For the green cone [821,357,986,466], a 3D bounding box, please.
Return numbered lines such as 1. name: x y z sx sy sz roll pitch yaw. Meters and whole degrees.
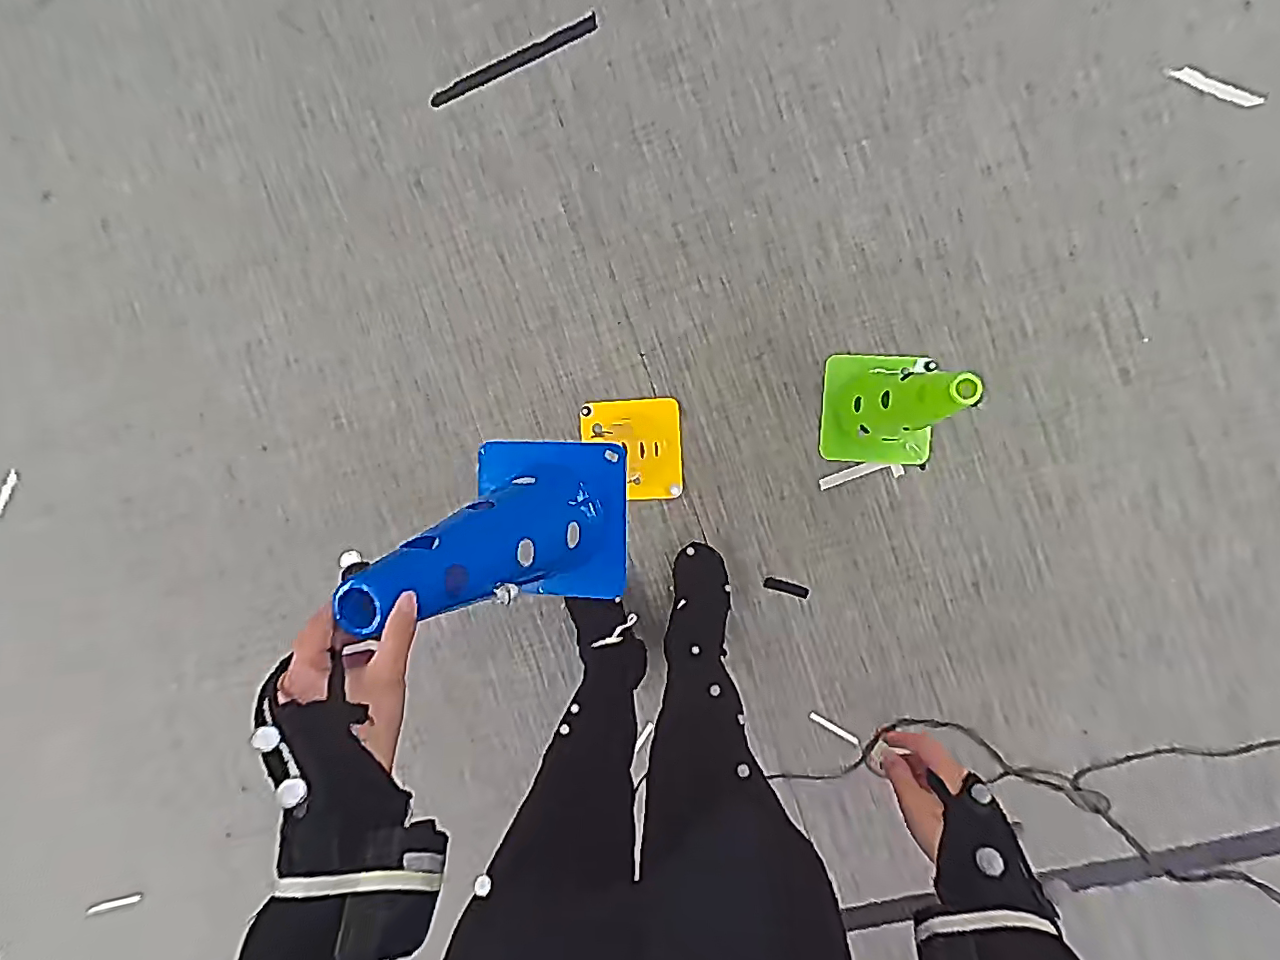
1. green cone: 0.425 -0.117 0.844 0.200 0.368 0.202 3 94 7
